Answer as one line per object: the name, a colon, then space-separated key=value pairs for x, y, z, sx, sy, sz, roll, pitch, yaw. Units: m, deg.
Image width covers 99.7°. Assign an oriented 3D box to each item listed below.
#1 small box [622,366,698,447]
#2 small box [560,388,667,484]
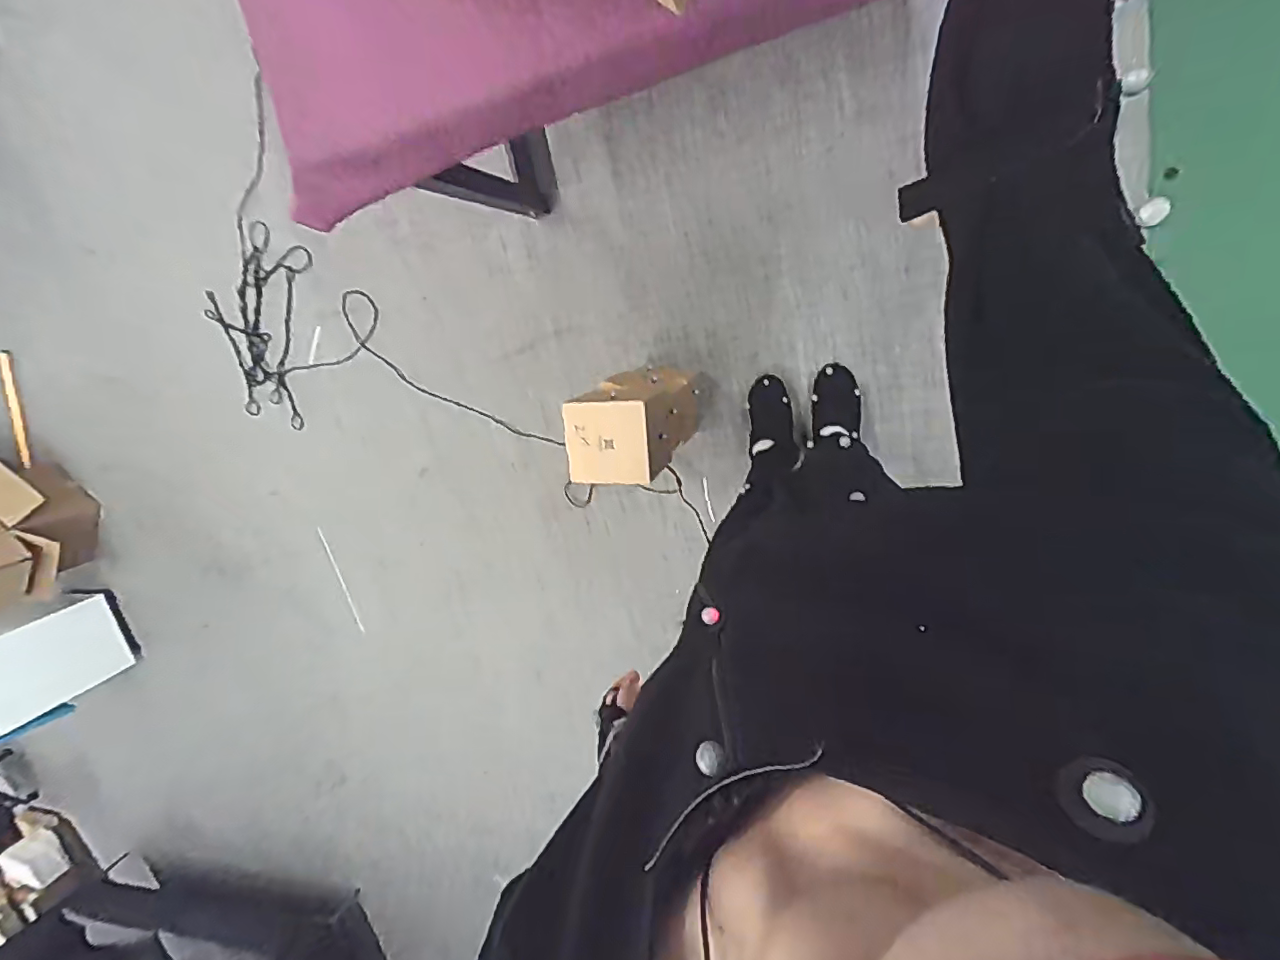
small box: x=0.053 y=-0.200 z=1.417 sx=0.168 sy=0.176 sz=0.179 roll=8 pitch=111 yaw=16
small box: x=-0.044 y=-0.097 z=1.122 sx=0.179 sy=0.176 sz=0.168 roll=2 pitch=107 yaw=19
